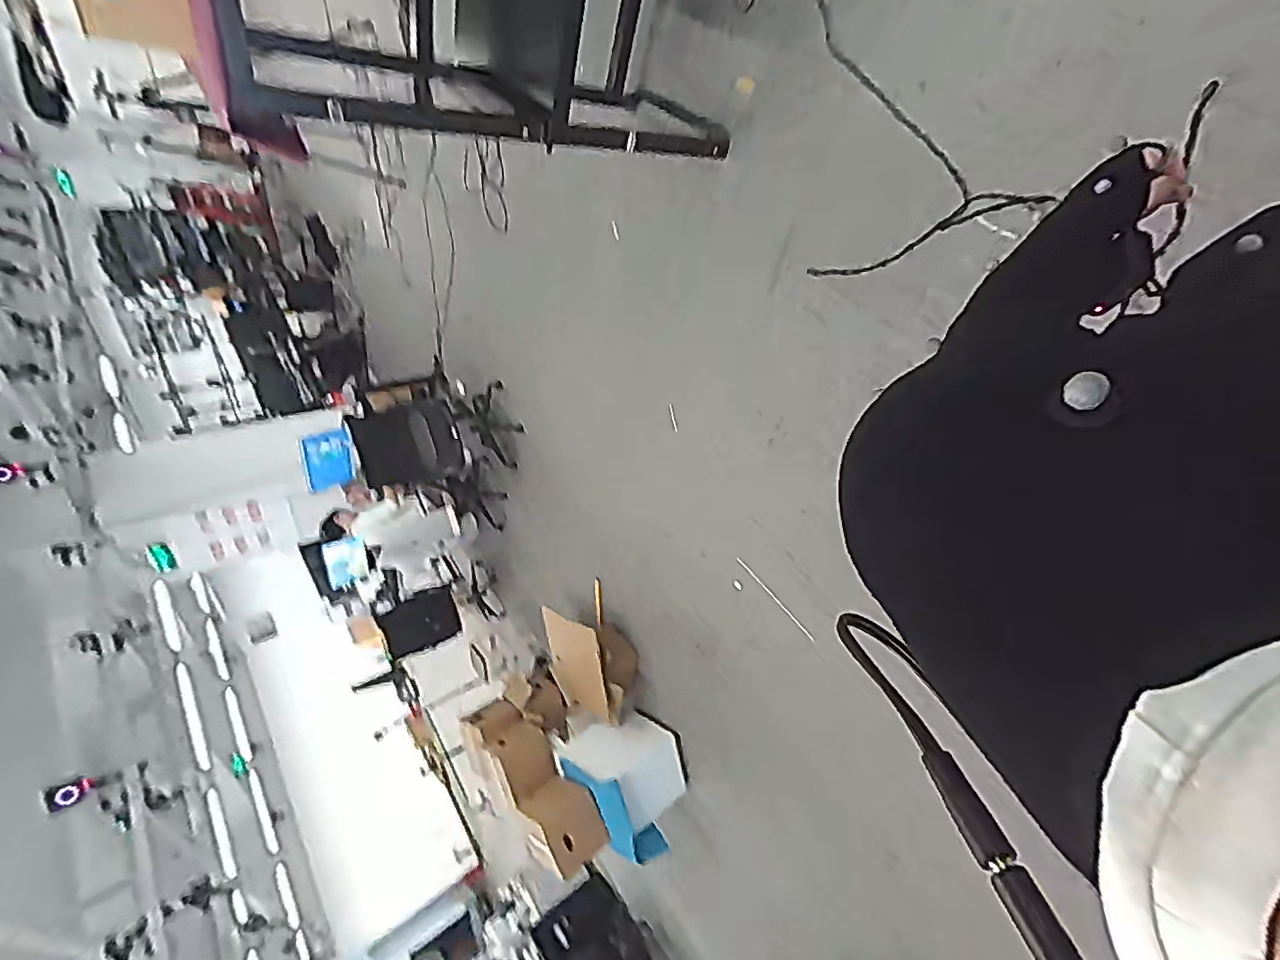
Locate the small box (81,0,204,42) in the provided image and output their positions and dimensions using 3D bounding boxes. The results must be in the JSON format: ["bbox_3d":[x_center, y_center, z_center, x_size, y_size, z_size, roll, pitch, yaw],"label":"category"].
[{"bbox_3d":[-0.922,-0.929,0.978,0.168,0.176,0.179,47,137,30],"label":"small box"}]
